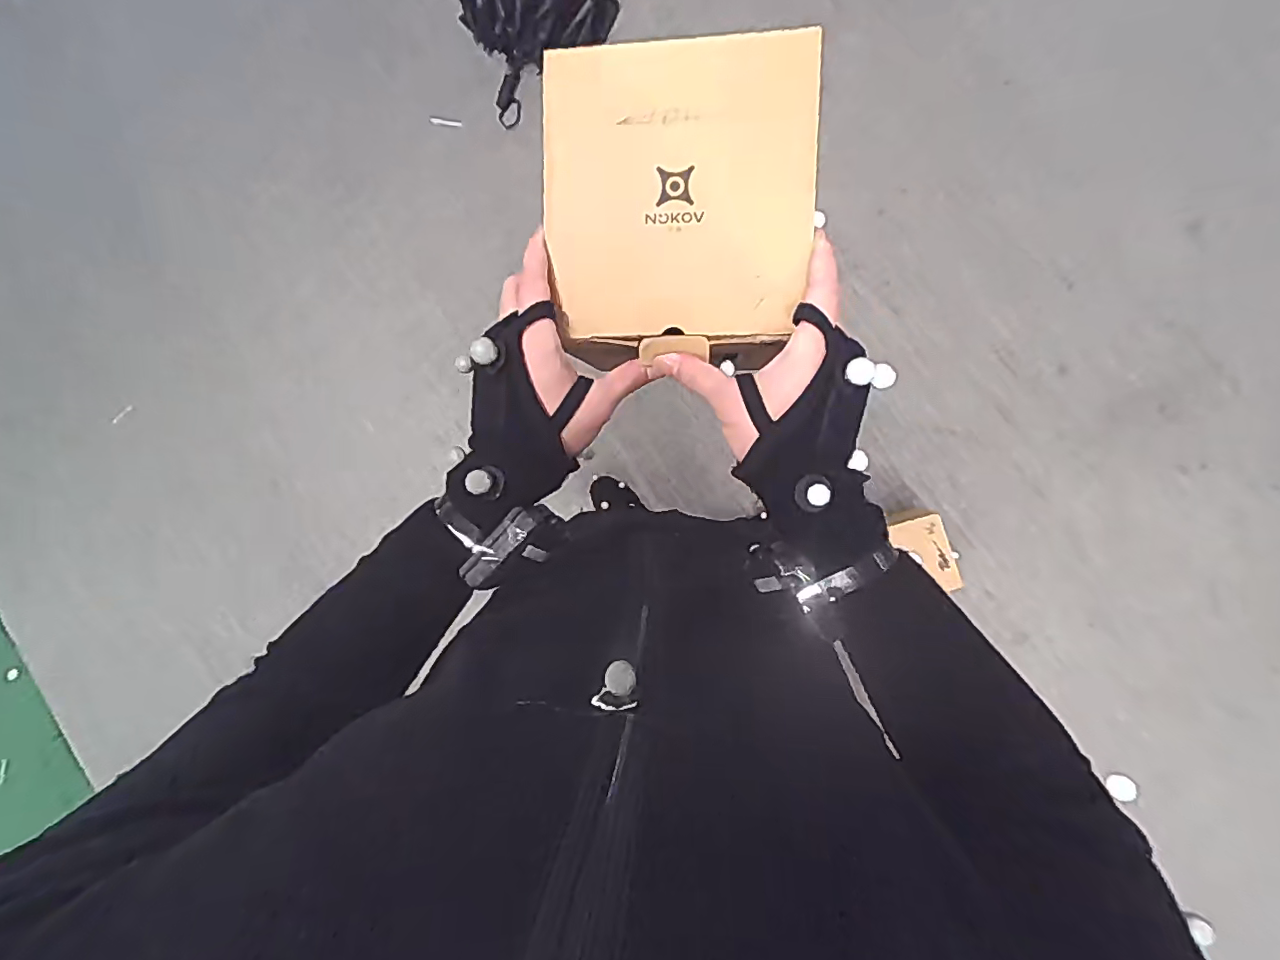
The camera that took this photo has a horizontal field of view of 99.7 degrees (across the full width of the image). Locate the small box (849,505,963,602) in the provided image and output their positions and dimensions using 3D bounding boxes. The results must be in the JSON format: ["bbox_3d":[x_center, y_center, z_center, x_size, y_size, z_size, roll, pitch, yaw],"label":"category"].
[{"bbox_3d":[0.585,0.160,1.218,0.179,0.176,0.168,-18,88,12],"label":"small box"}]
